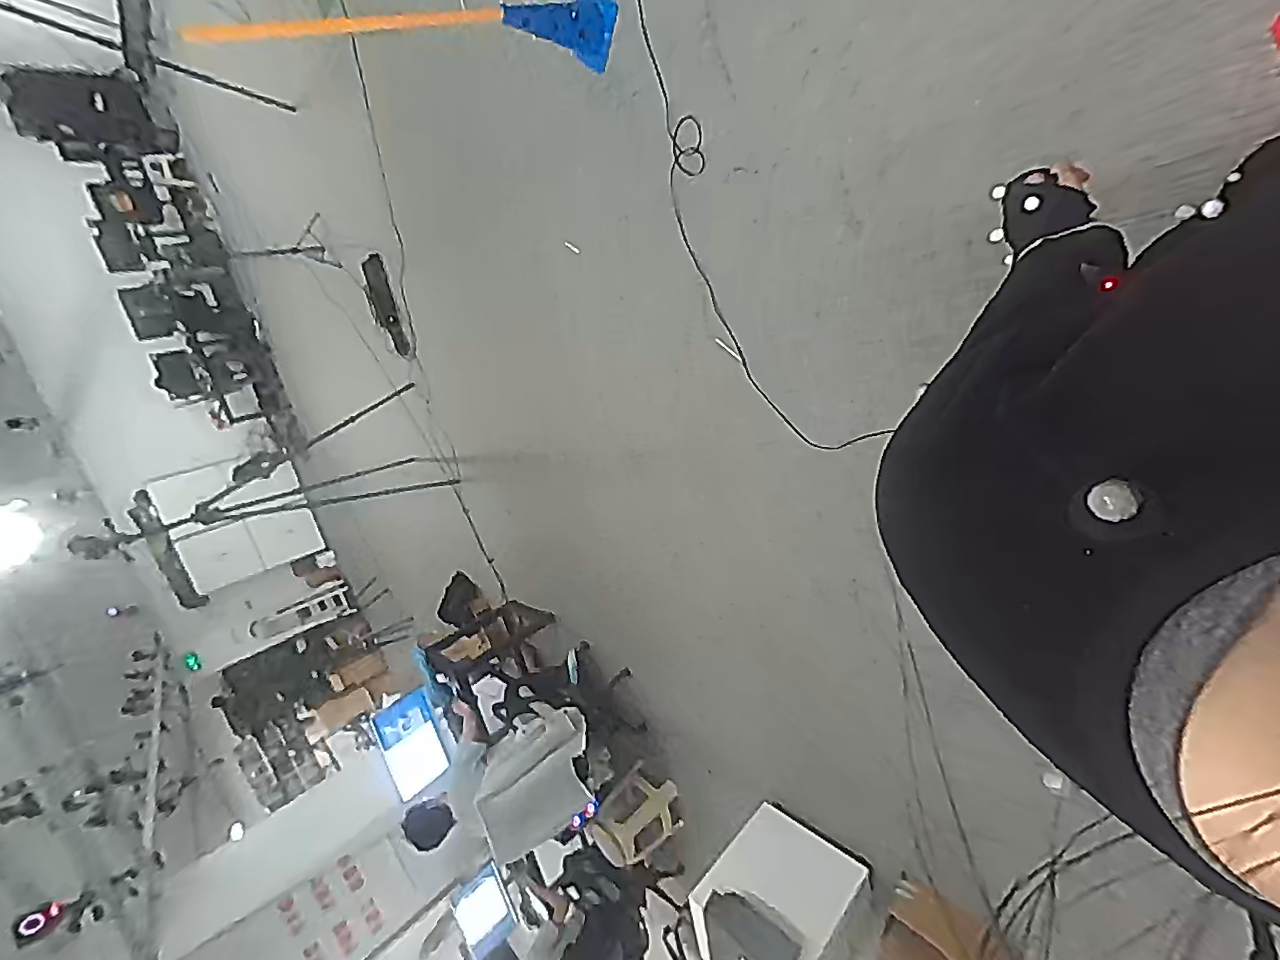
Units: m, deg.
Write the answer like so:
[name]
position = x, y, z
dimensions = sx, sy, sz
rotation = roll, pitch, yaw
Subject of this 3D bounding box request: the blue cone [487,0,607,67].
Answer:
[blue cone]
position = -0.299, -1.440, 1.689
dimensions = 0.192, 0.380, 0.193
rotation = 46, 140, 20
